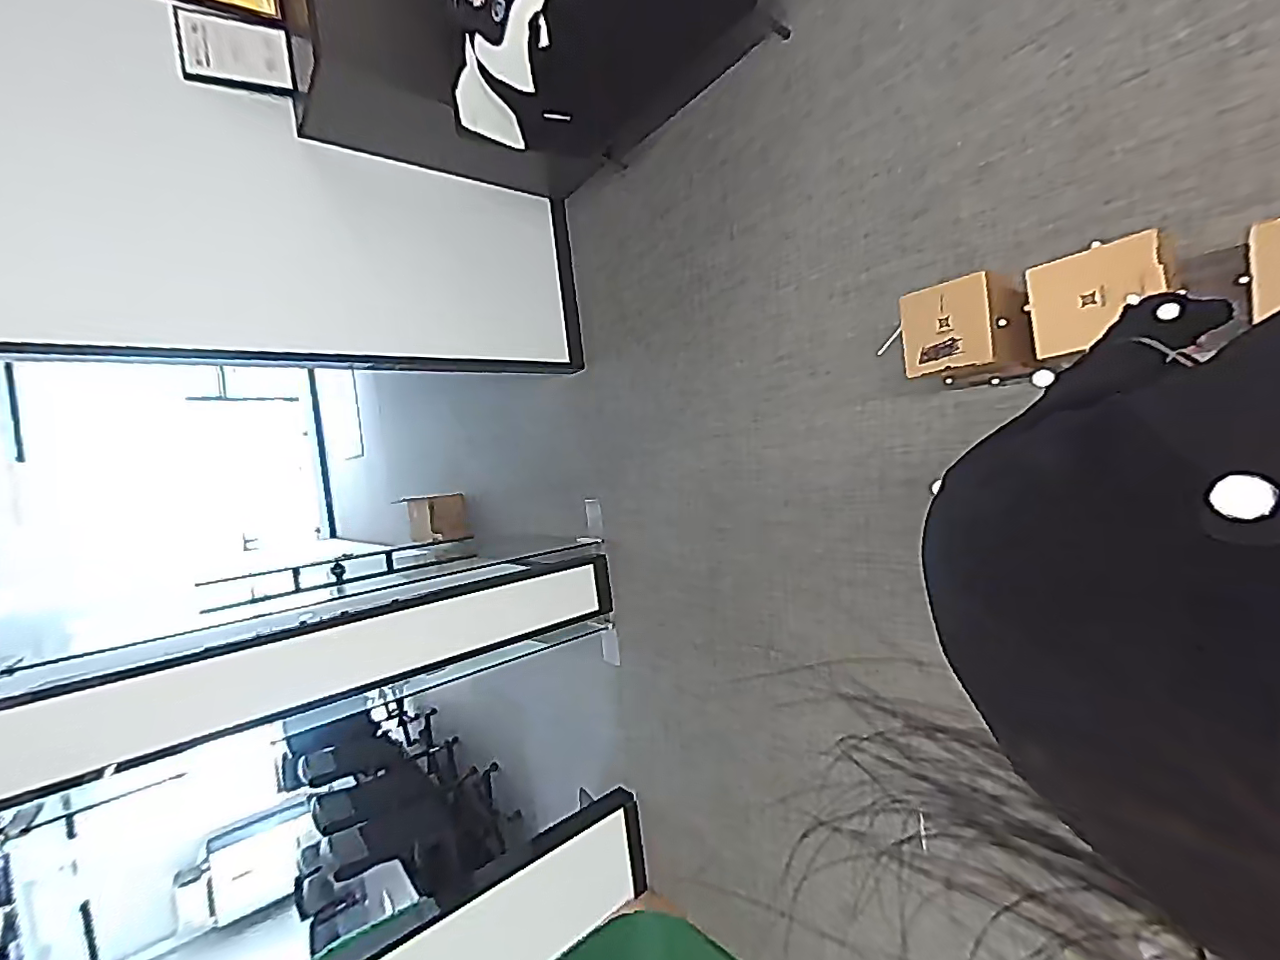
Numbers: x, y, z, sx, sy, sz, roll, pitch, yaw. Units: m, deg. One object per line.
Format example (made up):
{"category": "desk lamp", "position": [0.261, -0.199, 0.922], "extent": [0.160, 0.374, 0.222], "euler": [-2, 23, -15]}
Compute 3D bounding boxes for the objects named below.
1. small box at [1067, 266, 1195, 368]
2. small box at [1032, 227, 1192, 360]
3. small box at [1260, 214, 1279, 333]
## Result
{"category": "small box", "position": [0.952, -0.326, 1.059], "extent": [0.168, 0.176, 0.179], "euler": [-7, 90, 52]}
{"category": "small box", "position": [0.830, -0.314, 0.953], "extent": [0.179, 0.176, 0.168], "euler": [-9, 89, 51]}
{"category": "small box", "position": [1.115, -0.342, 0.860], "extent": [0.168, 0.176, 0.179], "euler": [-3, 94, 51]}
